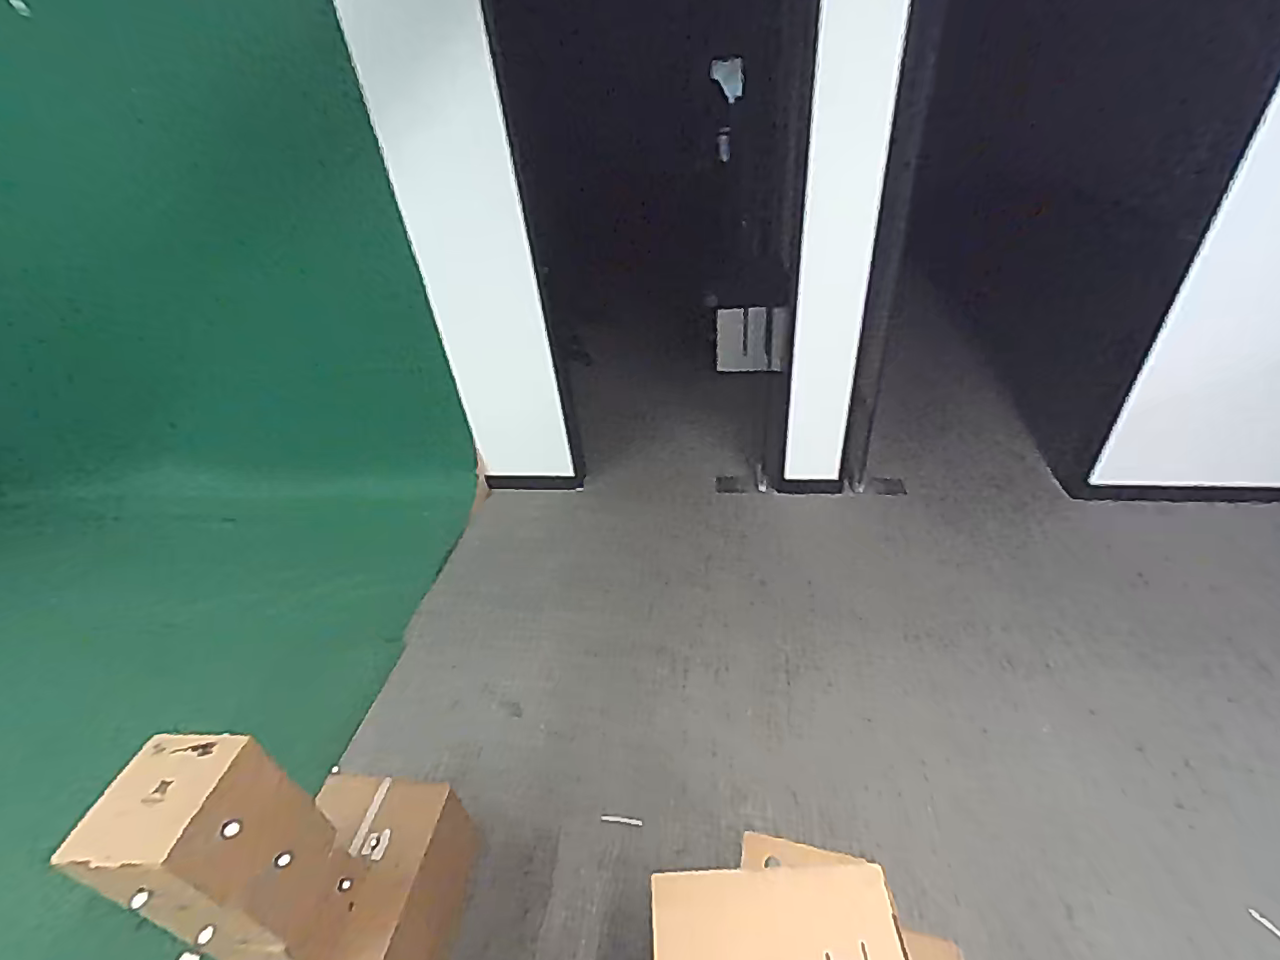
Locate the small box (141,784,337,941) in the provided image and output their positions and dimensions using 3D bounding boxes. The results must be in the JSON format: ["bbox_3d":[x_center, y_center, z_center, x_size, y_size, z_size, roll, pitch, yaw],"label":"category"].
[{"bbox_3d":[-0.649,0.639,0.907,0.168,0.176,0.179,-2,34,5],"label":"small box"}]

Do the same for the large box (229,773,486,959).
[{"bbox_3d":[-0.586,0.934,1.189,0.320,0.320,0.408,0,35,9],"label":"large box"}]

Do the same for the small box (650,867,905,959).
[{"bbox_3d":[0.098,0.407,0.405,0.179,0.176,0.168,-3,44,0],"label":"small box"}]

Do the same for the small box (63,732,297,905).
[{"bbox_3d":[-0.663,0.506,0.811,0.168,0.176,0.179,-1,36,7],"label":"small box"}]

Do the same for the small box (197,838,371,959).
[{"bbox_3d":[-0.635,0.776,0.995,0.179,0.176,0.168,-1,35,9],"label":"small box"}]
